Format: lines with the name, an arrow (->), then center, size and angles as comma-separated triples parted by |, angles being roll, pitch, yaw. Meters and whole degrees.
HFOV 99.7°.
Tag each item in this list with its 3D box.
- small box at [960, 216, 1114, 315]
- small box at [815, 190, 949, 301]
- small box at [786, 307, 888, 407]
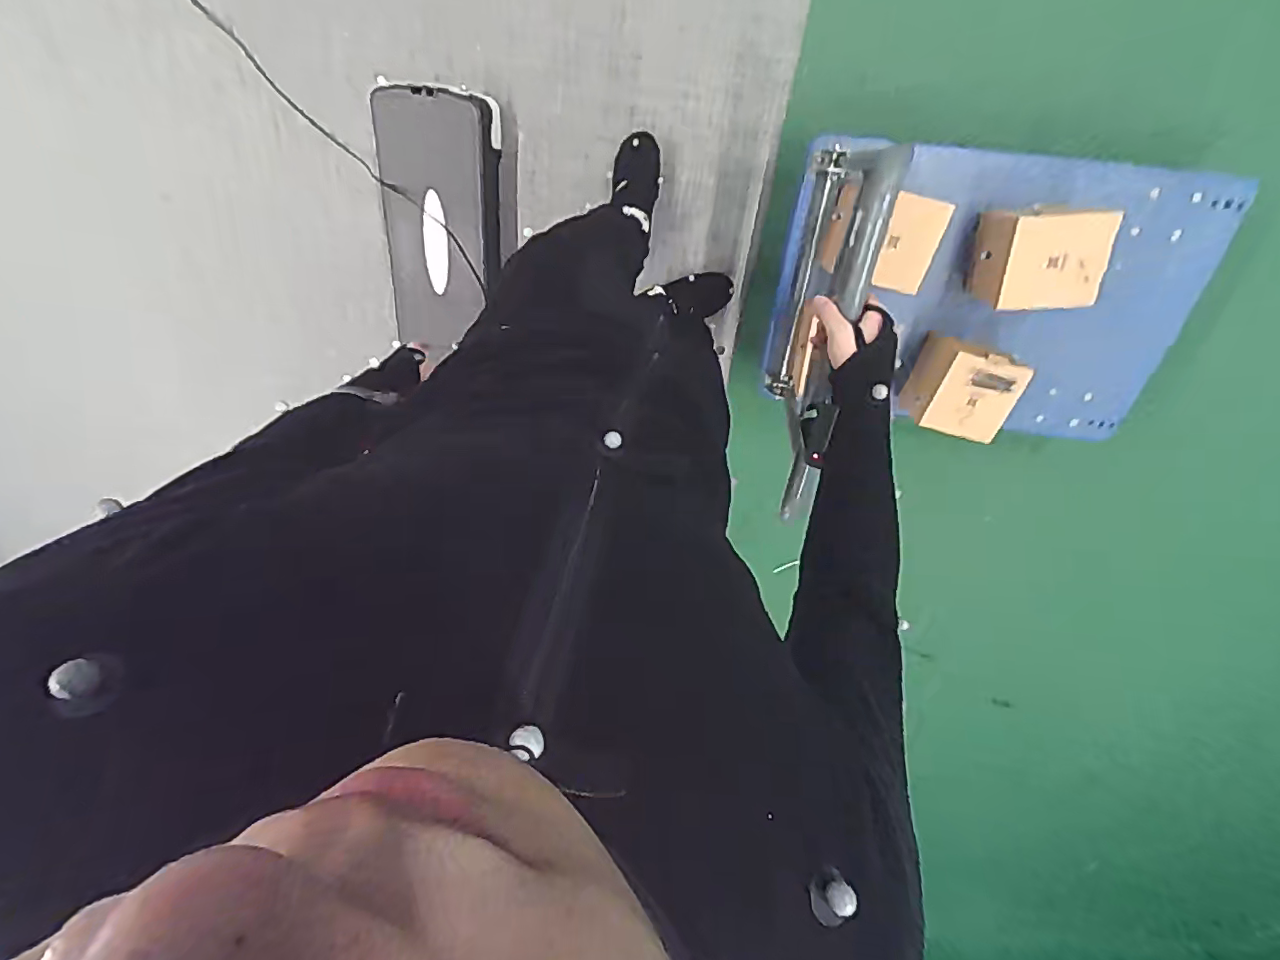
small box -> 0.778, -0.433, 1.087 | 0.179, 0.176, 0.168 | 1, 120, 7
small box -> 0.478, -0.483, 1.101 | 0.179, 0.176, 0.168 | 14, 121, 0
small box -> 0.431, -0.283, 1.218 | 0.168, 0.176, 0.179 | 6, 121, 5
